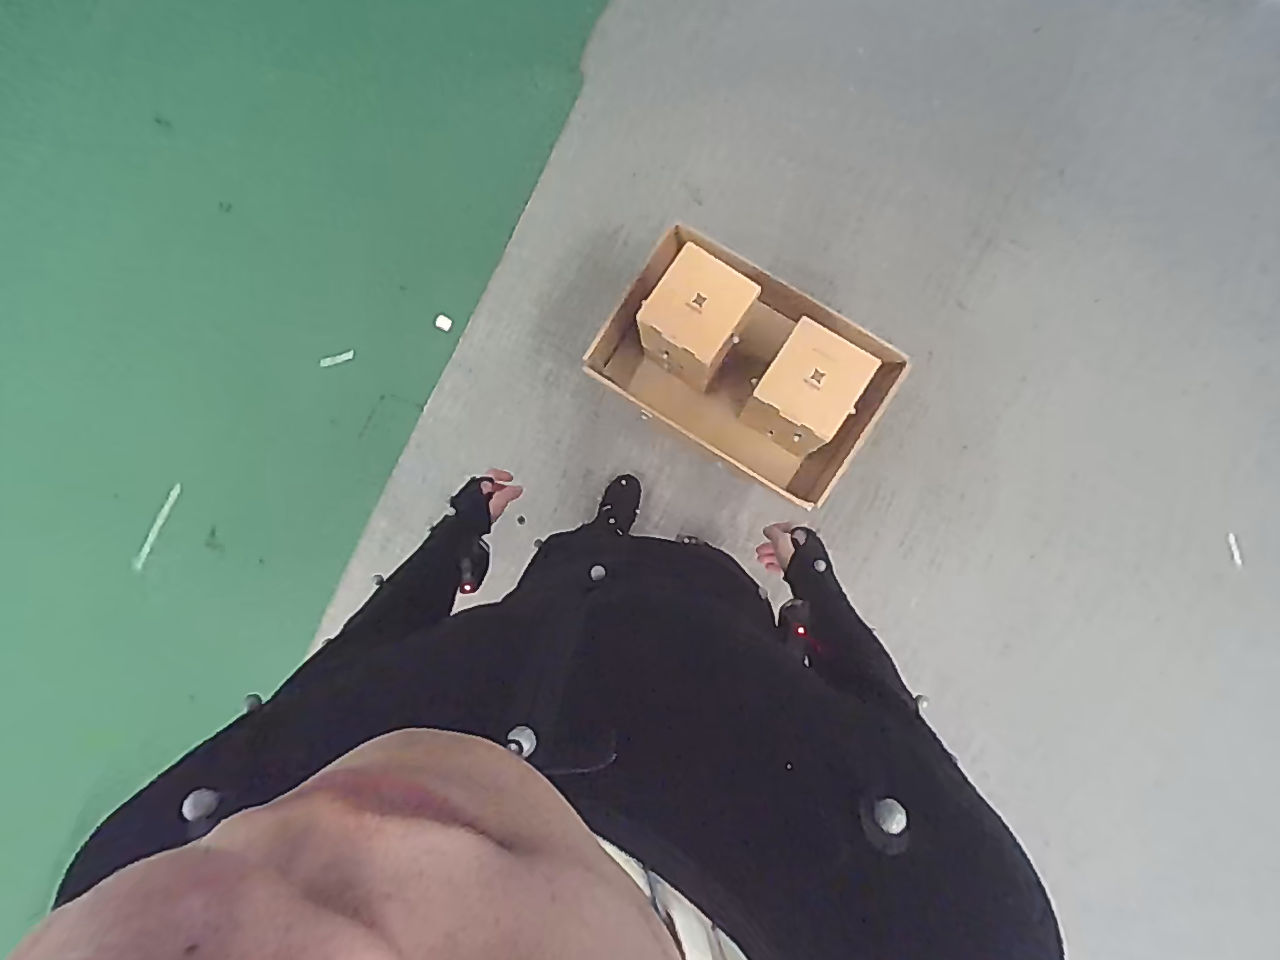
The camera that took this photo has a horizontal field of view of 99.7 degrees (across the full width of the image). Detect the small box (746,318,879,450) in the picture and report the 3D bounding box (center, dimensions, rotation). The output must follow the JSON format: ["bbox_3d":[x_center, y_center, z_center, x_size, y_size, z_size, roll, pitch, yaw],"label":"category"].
[{"bbox_3d":[0.319,-0.173,1.044,0.168,0.176,0.179,34,90,5],"label":"small box"}]

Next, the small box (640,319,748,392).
[{"bbox_3d":[0.120,-0.321,1.232,0.179,0.176,0.168,35,90,4],"label":"small box"}]

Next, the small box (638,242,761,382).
[{"bbox_3d":[0.111,-0.320,1.068,0.168,0.176,0.179,35,91,4],"label":"small box"}]
